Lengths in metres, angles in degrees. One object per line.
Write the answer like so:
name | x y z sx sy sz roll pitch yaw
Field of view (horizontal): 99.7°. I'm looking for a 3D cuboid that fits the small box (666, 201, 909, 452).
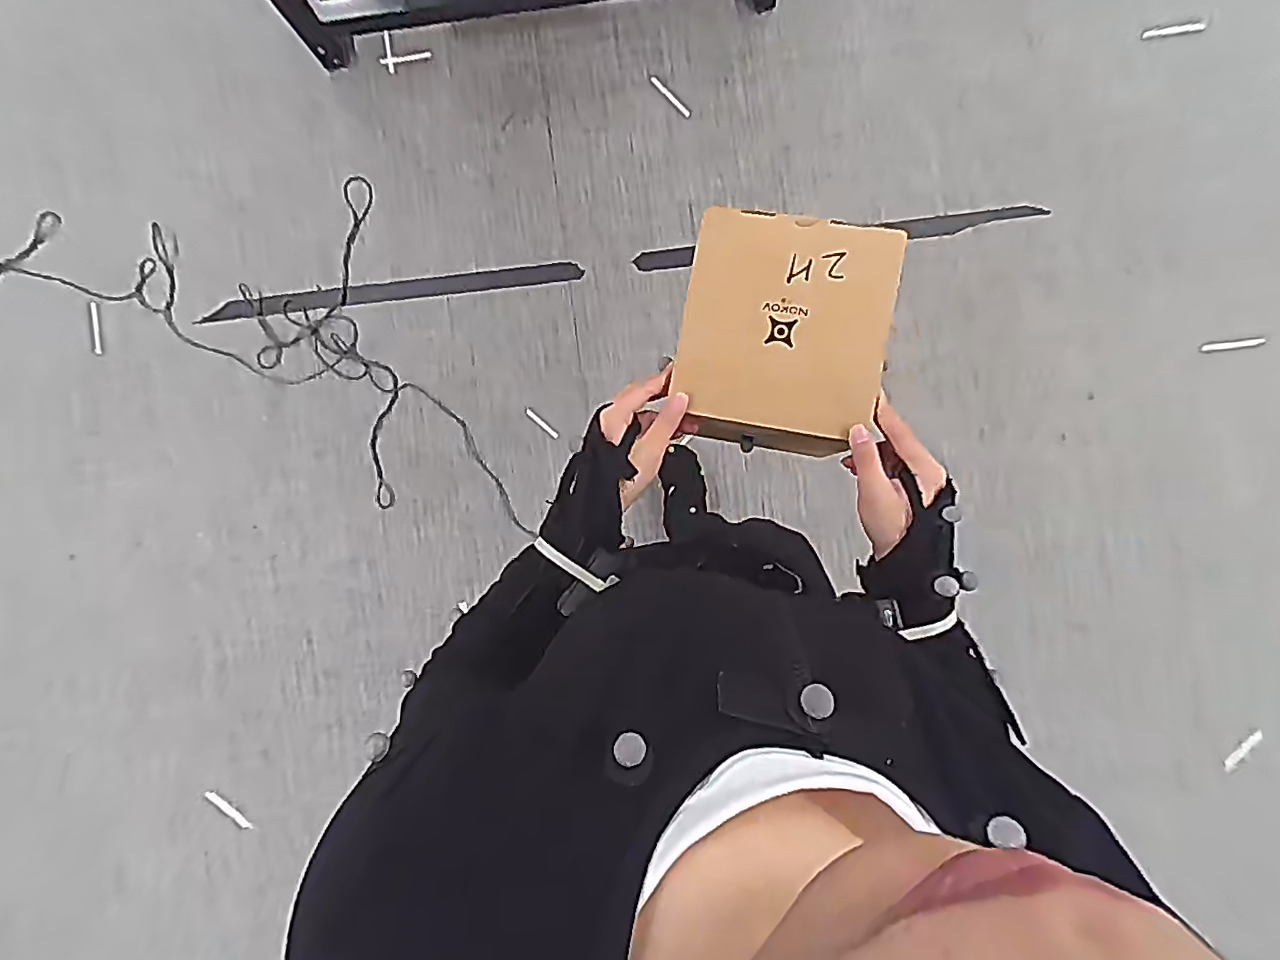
small box | 0.126 -0.127 0.512 0.168 0.176 0.179 11 89 6
